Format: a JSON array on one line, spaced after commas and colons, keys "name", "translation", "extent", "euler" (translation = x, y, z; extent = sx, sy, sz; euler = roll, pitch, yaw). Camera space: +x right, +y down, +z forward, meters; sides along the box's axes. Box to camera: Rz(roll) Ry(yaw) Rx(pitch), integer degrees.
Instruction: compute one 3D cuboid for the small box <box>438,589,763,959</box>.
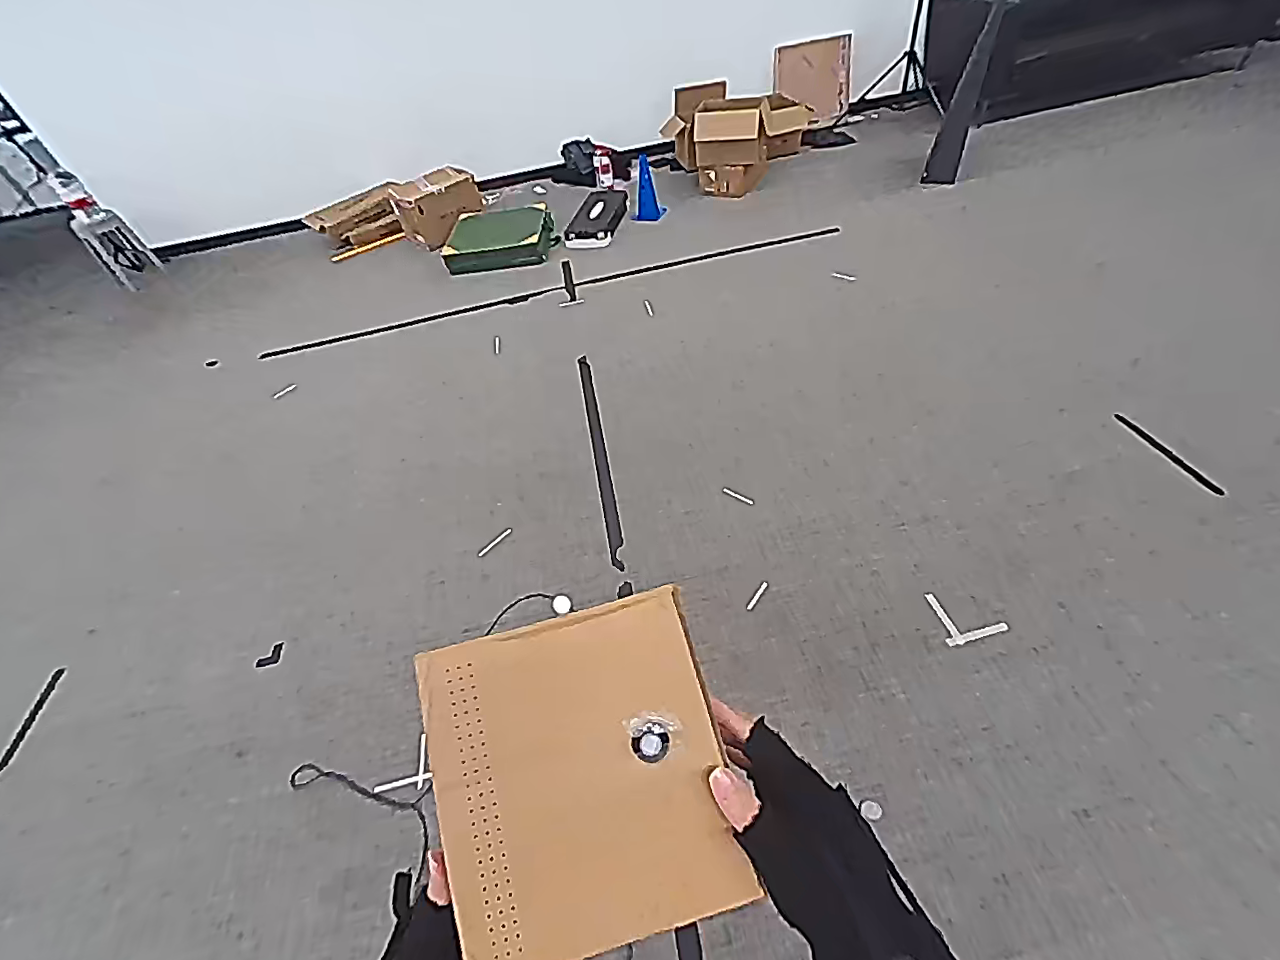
[{"name": "small box", "translation": [-0.033, 0.194, 0.396], "extent": [0.176, 0.168, 0.179], "euler": [-15, 75, -4]}]
